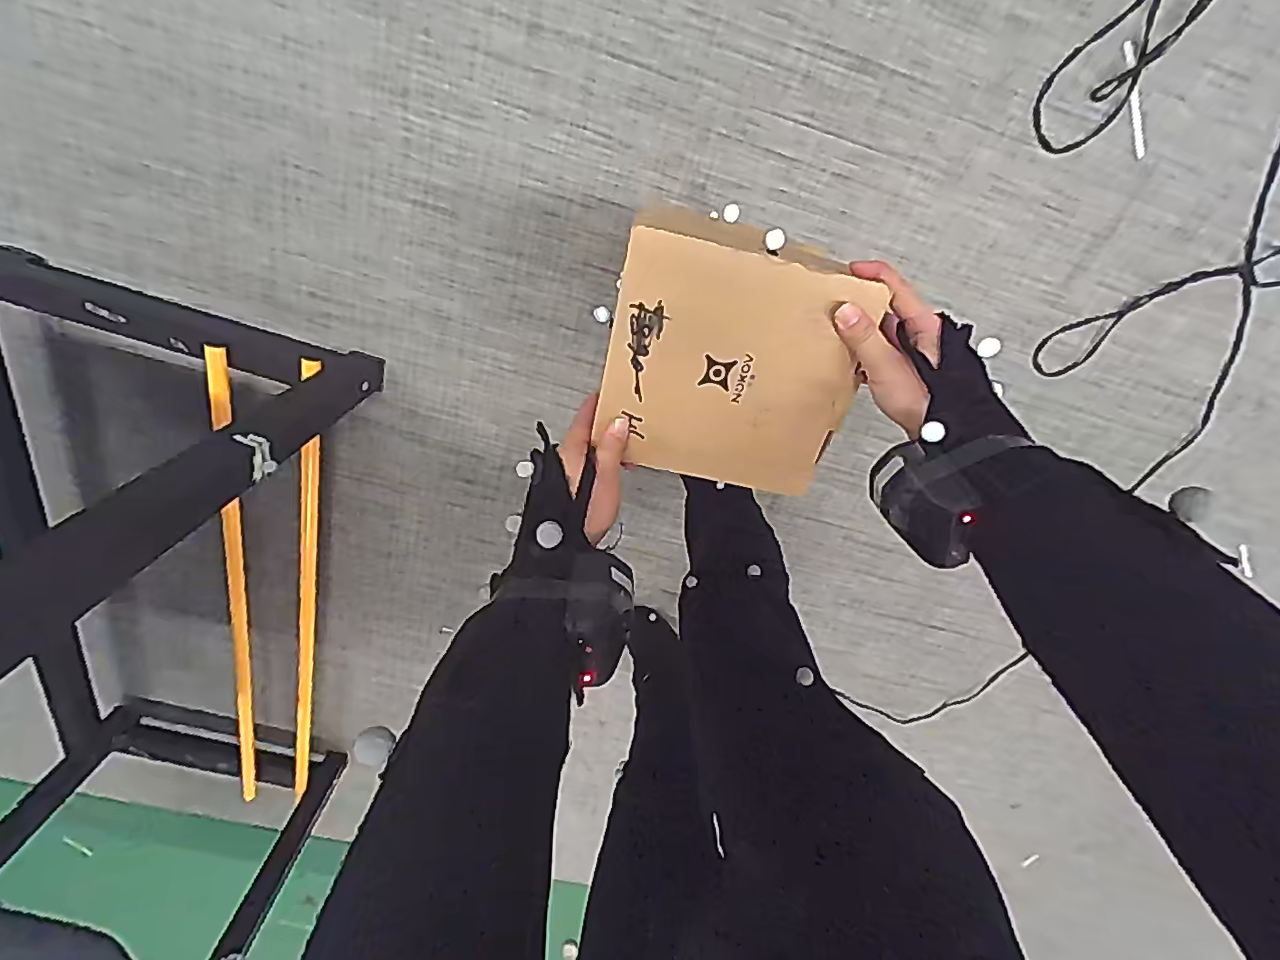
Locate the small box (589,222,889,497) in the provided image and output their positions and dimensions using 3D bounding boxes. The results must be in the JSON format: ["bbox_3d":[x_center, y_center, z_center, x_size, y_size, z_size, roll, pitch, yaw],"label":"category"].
[{"bbox_3d":[0.062,-0.109,0.452,0.179,0.176,0.168,12,116,-6],"label":"small box"}]
